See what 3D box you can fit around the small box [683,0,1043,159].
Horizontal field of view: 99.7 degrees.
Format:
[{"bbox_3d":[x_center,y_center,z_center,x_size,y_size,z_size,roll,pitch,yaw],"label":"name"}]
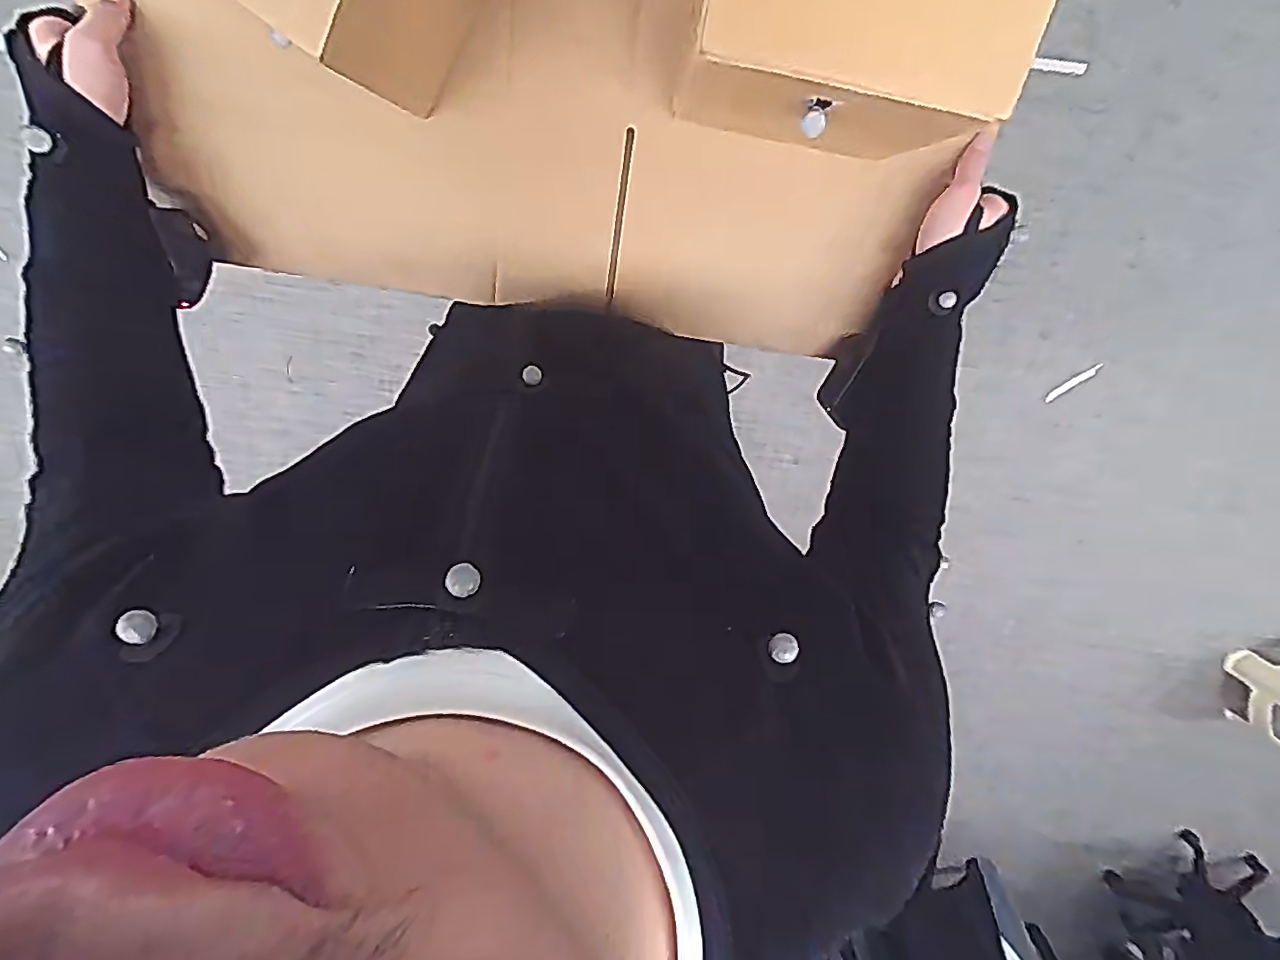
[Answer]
[{"bbox_3d":[0.132,-0.318,0.344,0.179,0.176,0.168,9,114,-4],"label":"small box"}]
